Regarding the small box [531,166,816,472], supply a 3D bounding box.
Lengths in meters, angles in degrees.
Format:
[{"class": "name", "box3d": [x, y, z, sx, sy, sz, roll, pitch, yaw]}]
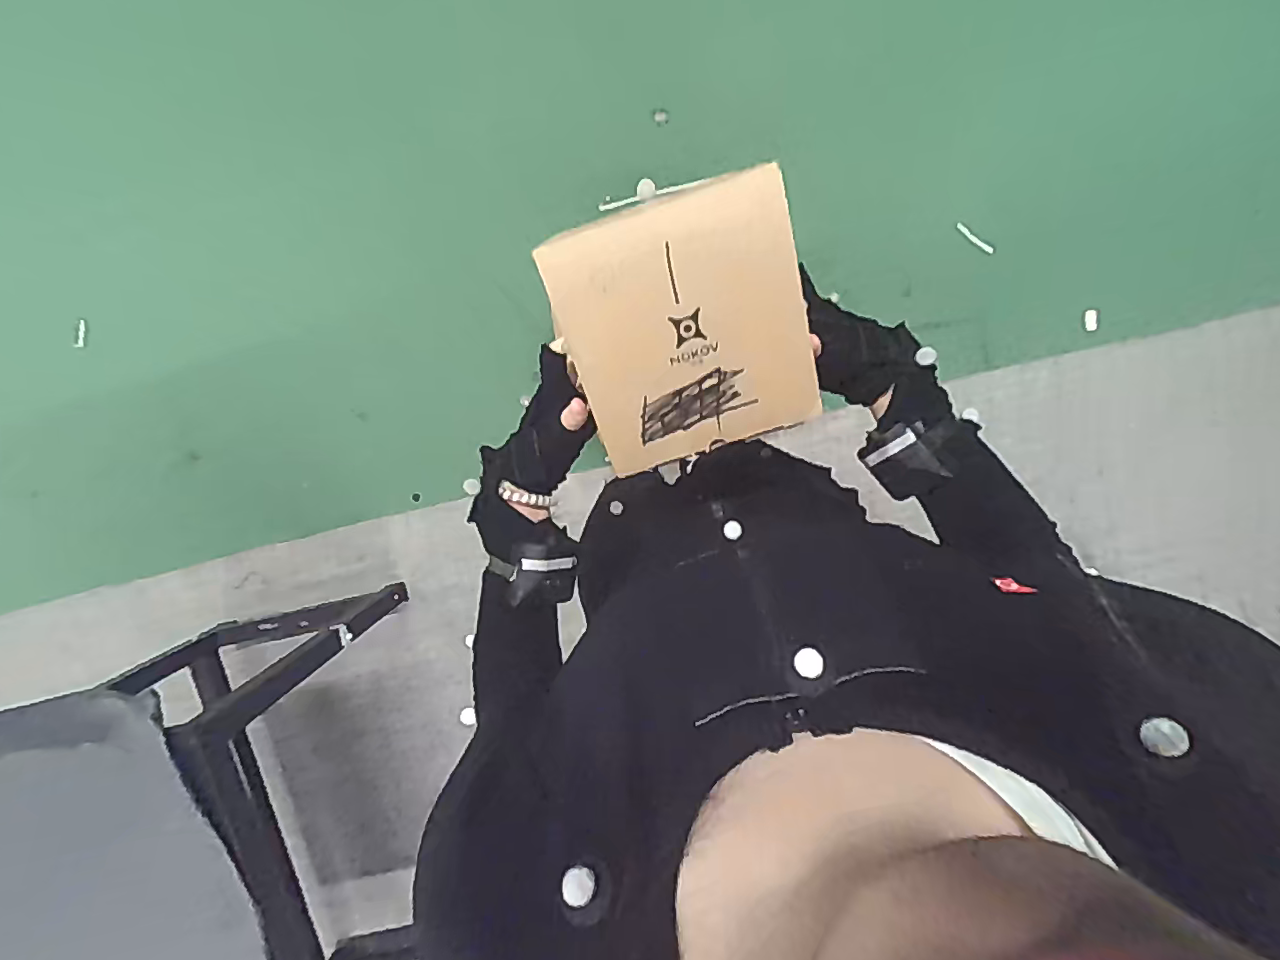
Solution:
[{"class": "small box", "box3d": [0.028, -0.137, 0.446, 0.168, 0.176, 0.179, -17, 117, 6]}]
